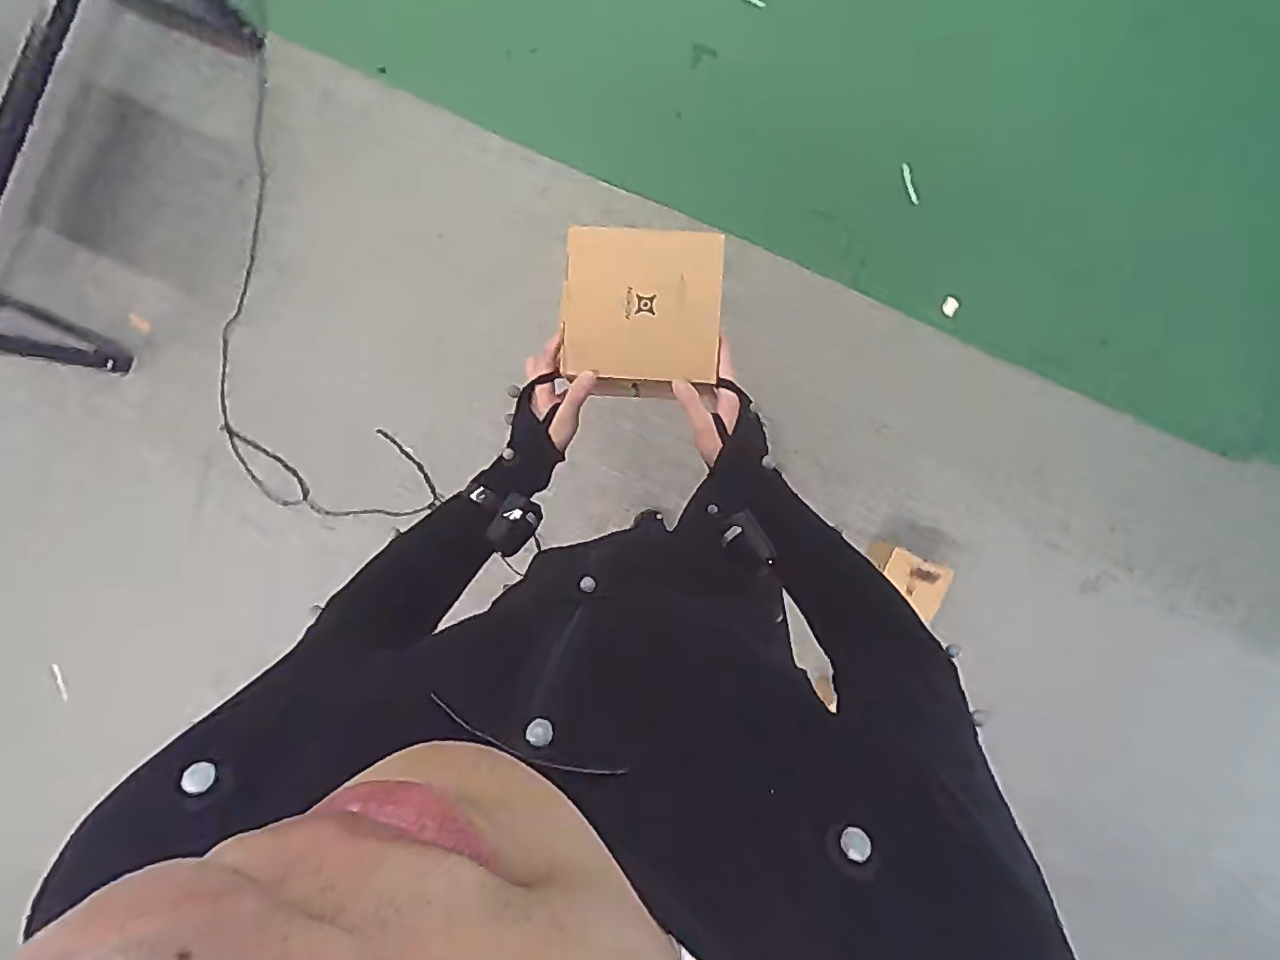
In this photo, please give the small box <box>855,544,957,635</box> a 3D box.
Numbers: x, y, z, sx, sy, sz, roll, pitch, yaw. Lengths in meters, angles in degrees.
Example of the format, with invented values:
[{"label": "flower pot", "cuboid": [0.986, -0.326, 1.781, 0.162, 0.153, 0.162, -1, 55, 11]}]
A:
[{"label": "small box", "cuboid": [0.717, 0.291, 1.483, 0.168, 0.176, 0.179, 25, 93, 4]}]
